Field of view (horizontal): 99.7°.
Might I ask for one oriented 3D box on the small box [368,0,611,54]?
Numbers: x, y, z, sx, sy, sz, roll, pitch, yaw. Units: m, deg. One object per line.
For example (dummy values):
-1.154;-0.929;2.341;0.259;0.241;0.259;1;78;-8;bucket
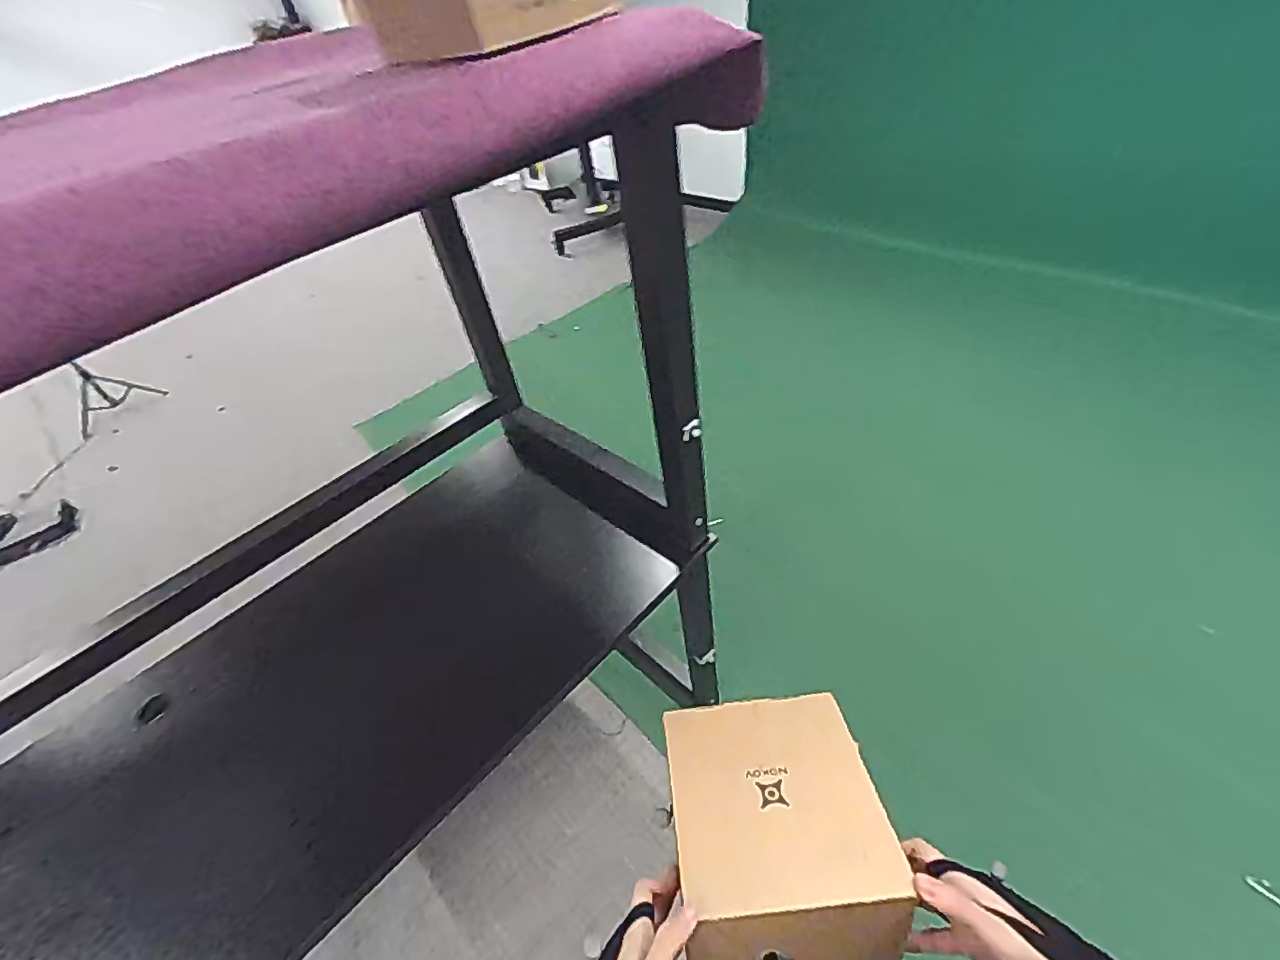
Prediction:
-0.142;-0.482;0.452;0.179;0.176;0.168;28;56;35;small box
